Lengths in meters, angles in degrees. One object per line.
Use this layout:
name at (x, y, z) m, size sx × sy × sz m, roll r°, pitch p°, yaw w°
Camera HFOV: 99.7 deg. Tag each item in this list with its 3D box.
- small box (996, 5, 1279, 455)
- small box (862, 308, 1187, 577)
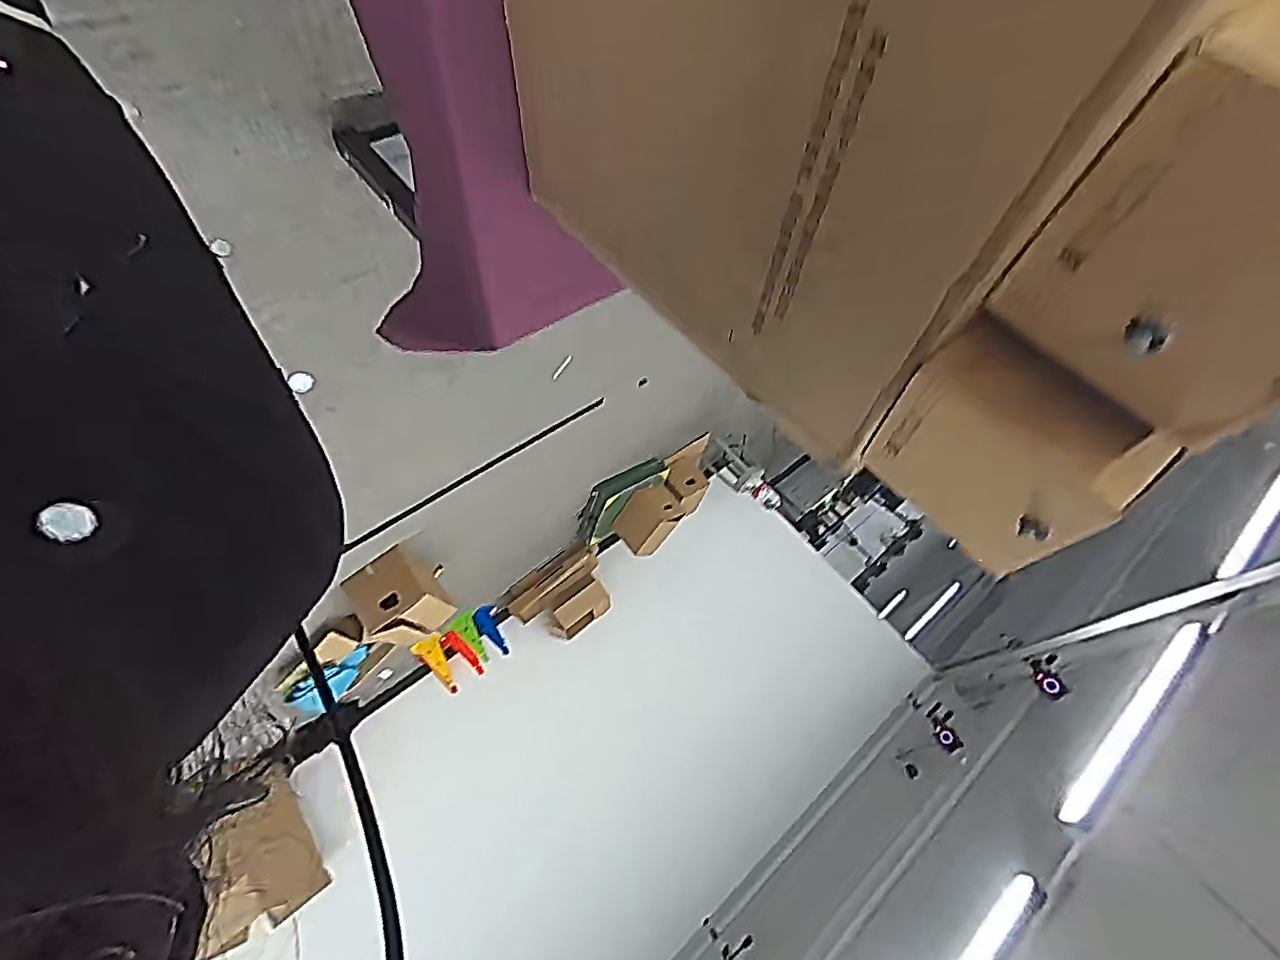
small box at (0.376, -0.155, 0.335) m, size 0.179 × 0.176 × 0.168 m, roll -36°, pitch 162°, yaw -19°
small box at (0.342, -0.047, 0.488) m, size 0.179 × 0.176 × 0.168 m, roll -39°, pitch 159°, yaw -13°
